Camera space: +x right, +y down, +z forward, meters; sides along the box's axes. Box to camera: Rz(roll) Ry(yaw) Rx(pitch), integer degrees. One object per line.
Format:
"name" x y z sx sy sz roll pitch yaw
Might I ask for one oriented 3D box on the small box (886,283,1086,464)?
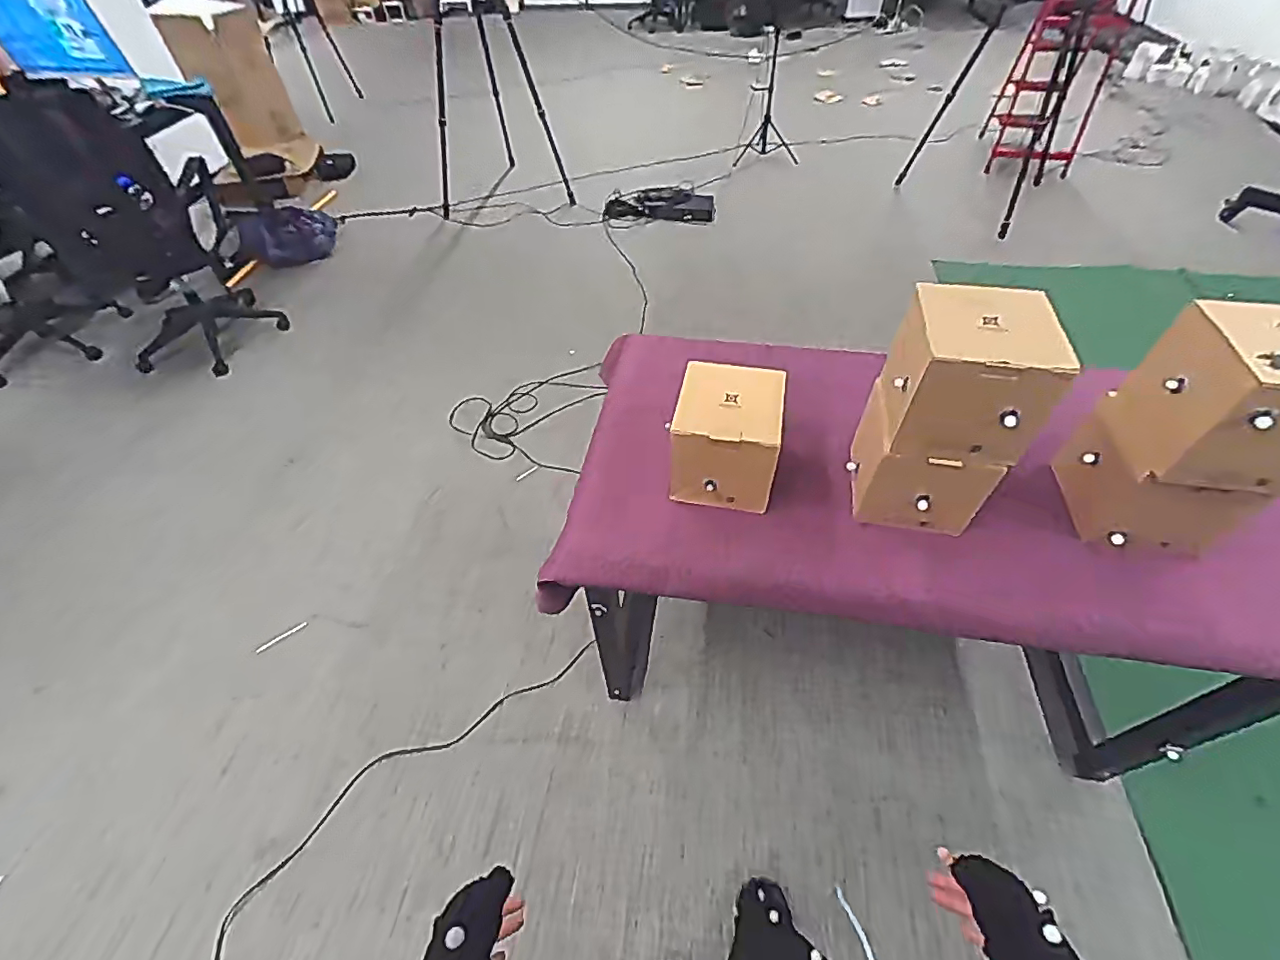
"small box" 0.448 -0.142 0.736 0.168 0.176 0.179 8 51 9

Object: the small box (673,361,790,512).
"small box" 0.149 -0.073 0.907 0.168 0.176 0.179 9 51 10

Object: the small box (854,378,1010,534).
"small box" 0.447 -0.036 0.861 0.168 0.176 0.179 9 51 10

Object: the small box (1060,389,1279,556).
"small box" 0.785 -0.008 0.817 0.168 0.176 0.179 10 51 9
